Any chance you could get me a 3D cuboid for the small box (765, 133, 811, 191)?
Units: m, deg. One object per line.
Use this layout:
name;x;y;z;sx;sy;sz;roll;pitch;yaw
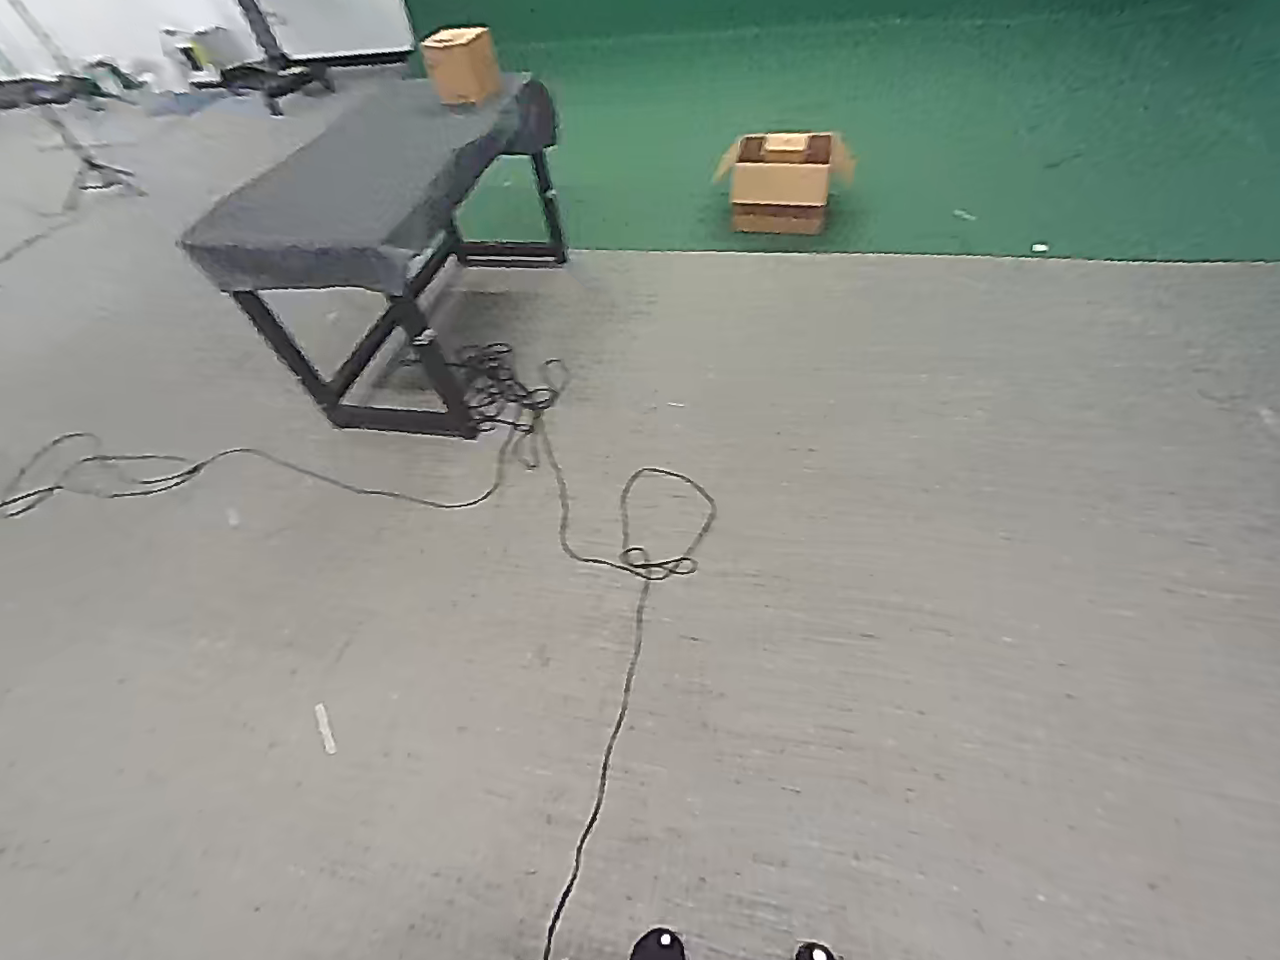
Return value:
small box;0.646;-1.401;2.379;0.168;0.176;0.179;10;54;14
